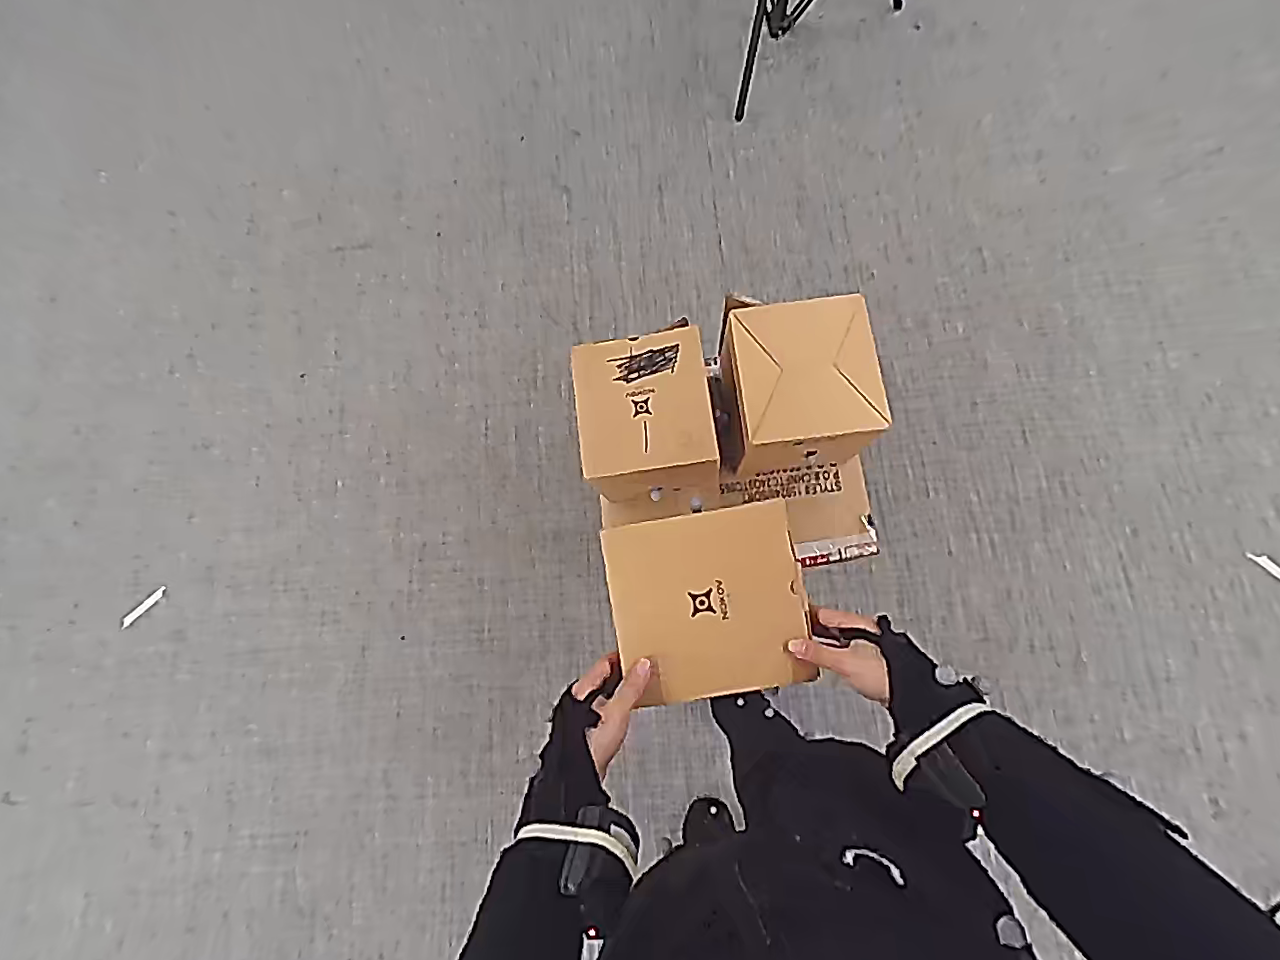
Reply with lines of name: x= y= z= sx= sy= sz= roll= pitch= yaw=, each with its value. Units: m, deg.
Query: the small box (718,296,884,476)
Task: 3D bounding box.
small box: x=0.204 y=-0.116 z=0.722 sx=0.168 sy=0.176 sz=0.179 roll=-7 pitch=78 yaw=1

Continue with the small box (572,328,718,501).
small box: x=0.012 y=-0.079 z=0.735 sx=0.168 sy=0.176 sz=0.179 roll=-8 pitch=78 yaw=6

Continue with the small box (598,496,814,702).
small box: x=0.063 y=0.118 z=0.572 sx=0.179 sy=0.176 sz=0.168 roll=-10 pitch=83 yaw=1
